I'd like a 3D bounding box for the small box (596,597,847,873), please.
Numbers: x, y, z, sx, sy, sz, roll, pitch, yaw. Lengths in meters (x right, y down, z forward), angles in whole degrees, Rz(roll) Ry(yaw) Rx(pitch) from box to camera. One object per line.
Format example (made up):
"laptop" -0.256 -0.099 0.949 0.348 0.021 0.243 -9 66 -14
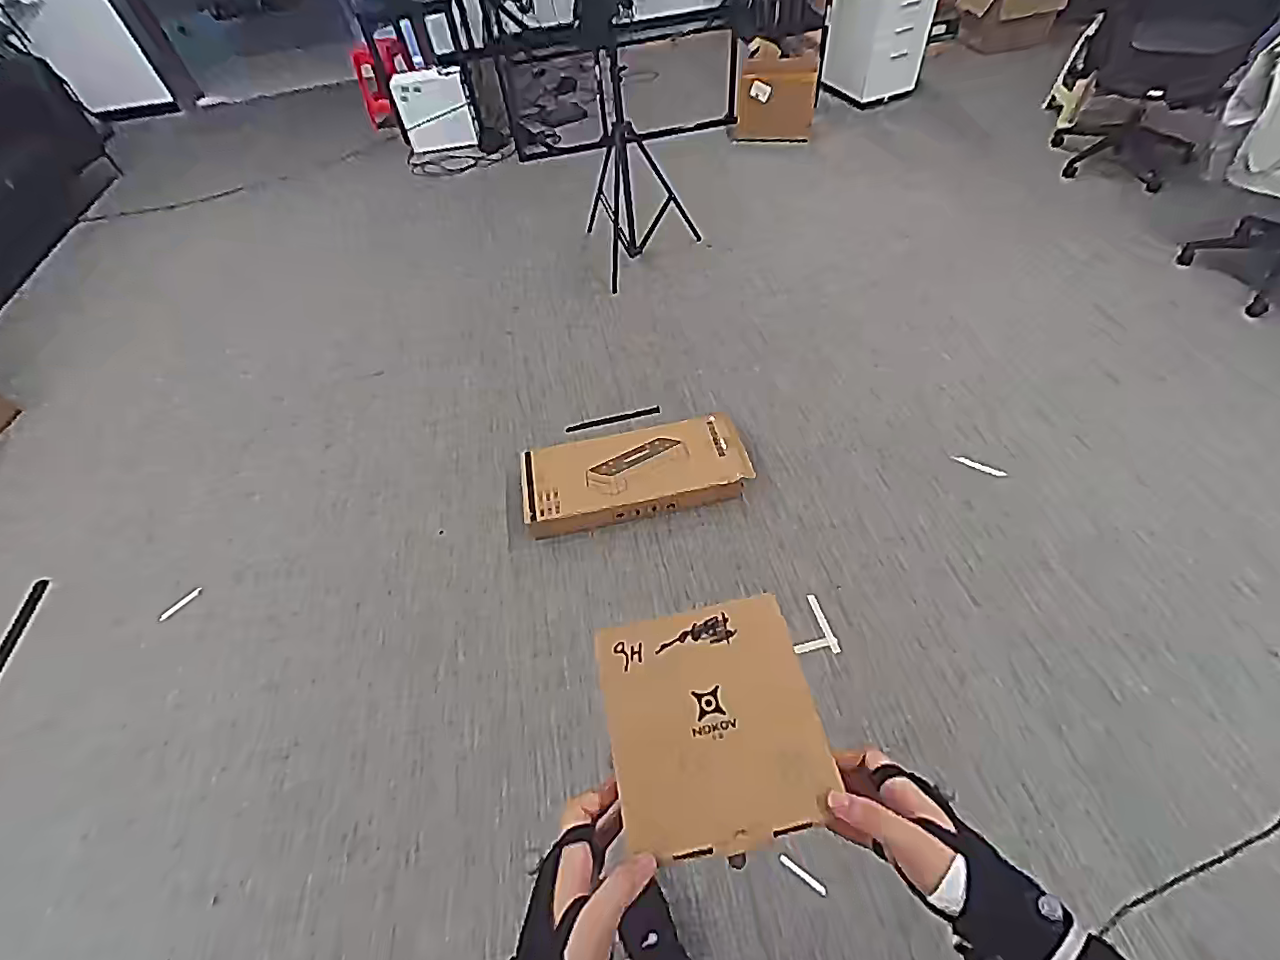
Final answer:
"small box" 0.063 0.232 0.499 0.168 0.176 0.179 -12 58 -3
